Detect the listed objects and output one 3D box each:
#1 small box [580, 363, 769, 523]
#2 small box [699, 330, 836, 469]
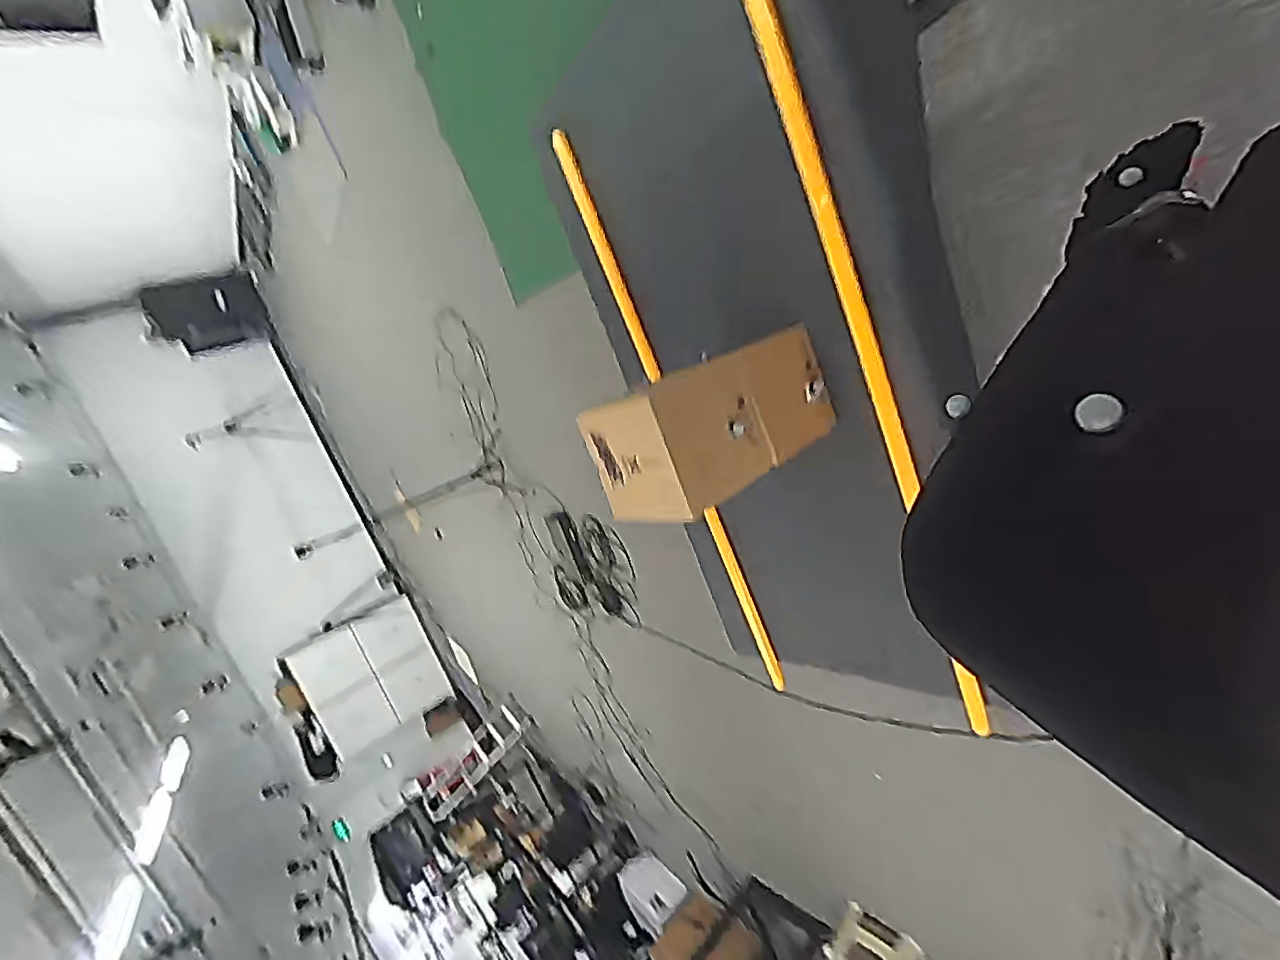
[{"bbox_3d":[0.050,-0.050,0.766,0.179,0.176,0.168,-5,110,54],"label":"small box"},{"bbox_3d":[0.173,-0.116,0.853,0.179,0.176,0.168,-12,105,54],"label":"small box"}]
